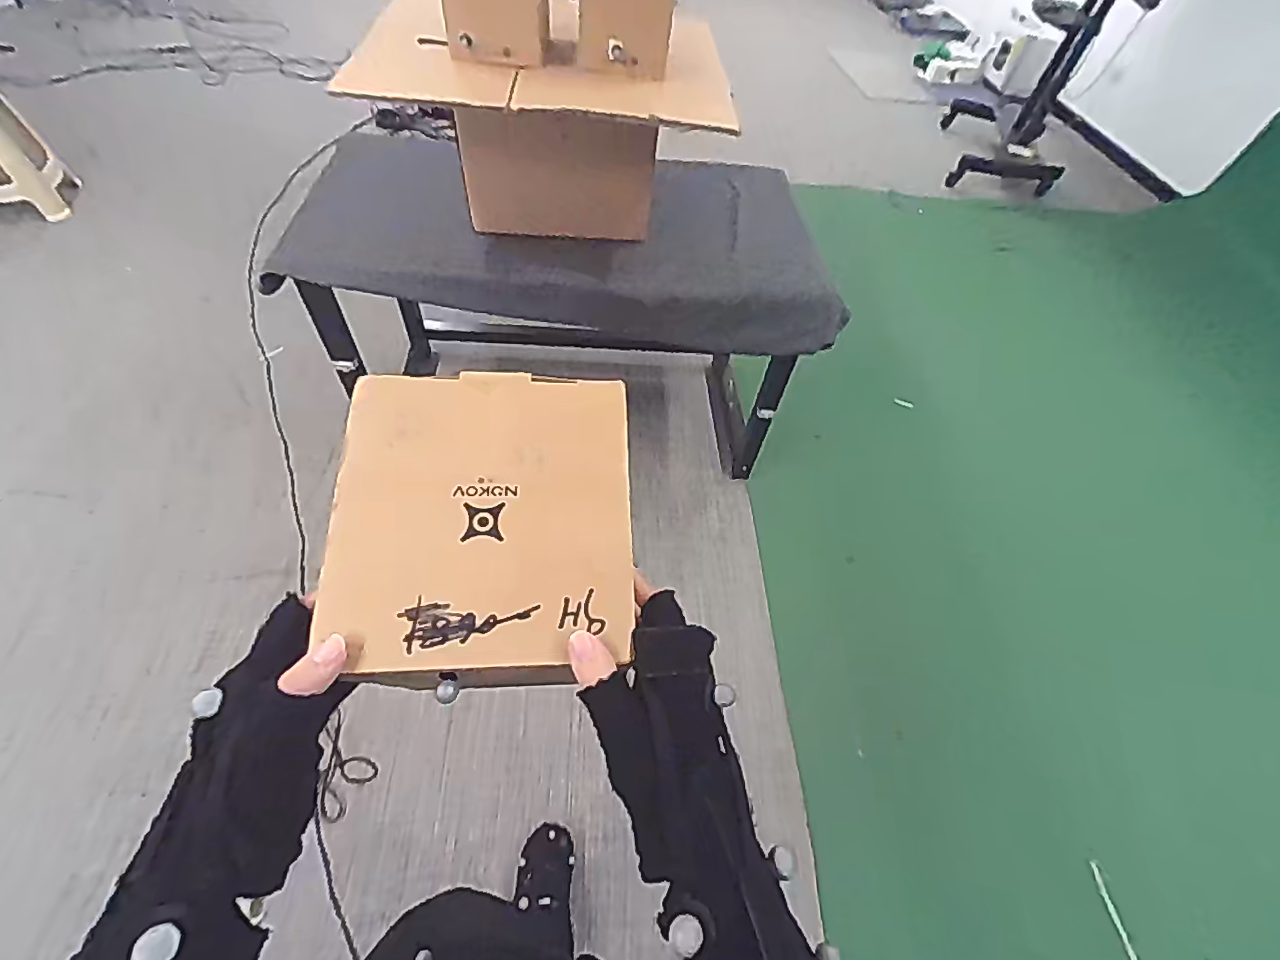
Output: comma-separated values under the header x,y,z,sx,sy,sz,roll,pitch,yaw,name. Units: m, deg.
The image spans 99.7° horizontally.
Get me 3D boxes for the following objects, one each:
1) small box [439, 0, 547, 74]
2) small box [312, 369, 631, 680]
x,y,z,sx,sy,sz,roll,pitch,yaw,name
-0.263,-0.869,0.983,0.168,0.176,0.179,3,53,-4,small box
-0.096,0.041,0.388,0.168,0.176,0.179,-1,66,-6,small box
